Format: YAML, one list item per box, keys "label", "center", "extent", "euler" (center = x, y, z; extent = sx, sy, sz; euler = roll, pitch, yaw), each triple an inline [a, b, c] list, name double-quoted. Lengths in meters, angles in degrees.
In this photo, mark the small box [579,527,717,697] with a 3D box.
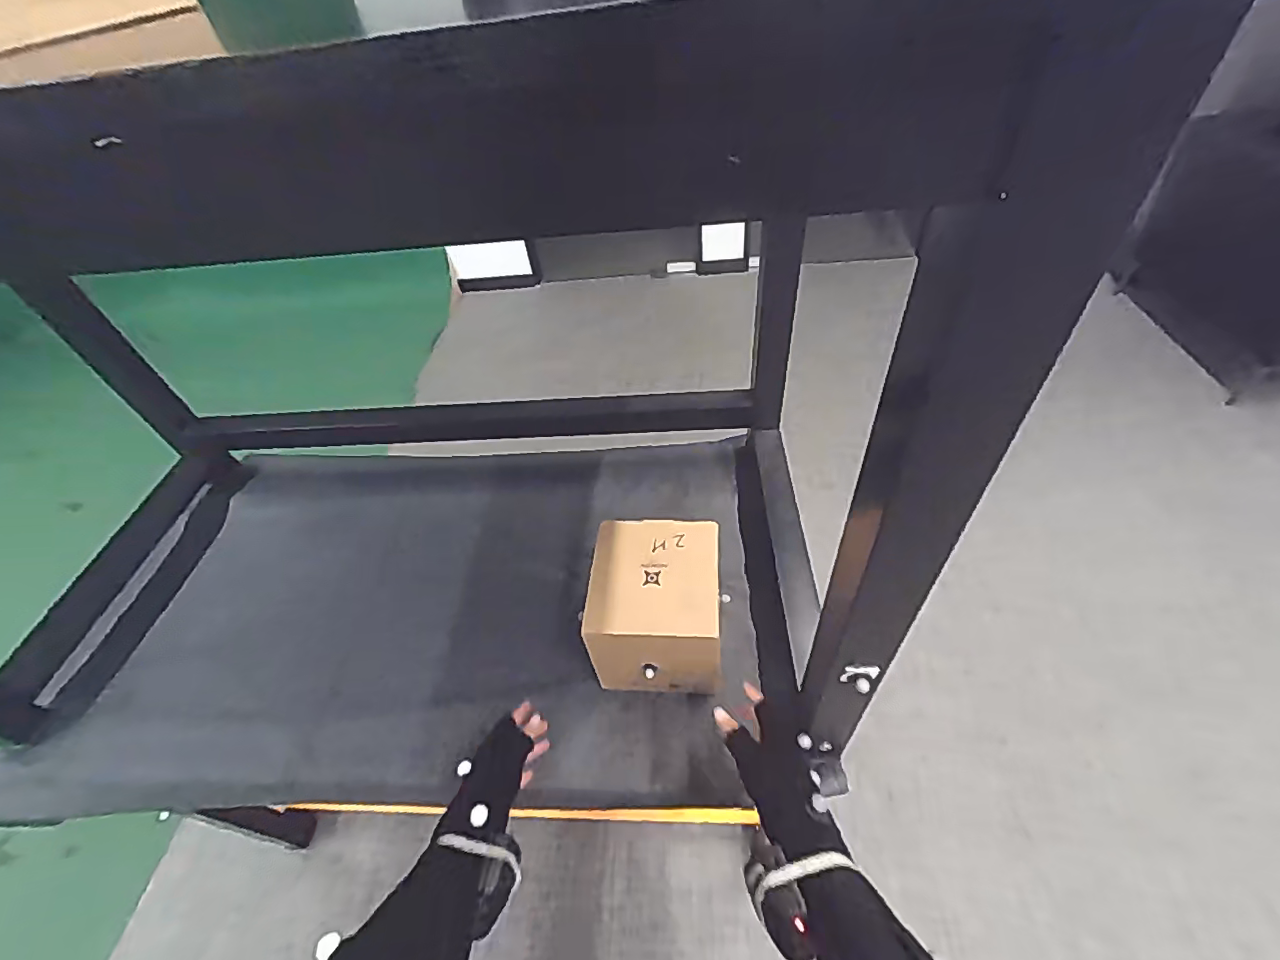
- label: "small box"
  center: [0.023, 0.185, 0.752]
  extent: [0.168, 0.176, 0.179]
  euler: [0, 46, 8]
